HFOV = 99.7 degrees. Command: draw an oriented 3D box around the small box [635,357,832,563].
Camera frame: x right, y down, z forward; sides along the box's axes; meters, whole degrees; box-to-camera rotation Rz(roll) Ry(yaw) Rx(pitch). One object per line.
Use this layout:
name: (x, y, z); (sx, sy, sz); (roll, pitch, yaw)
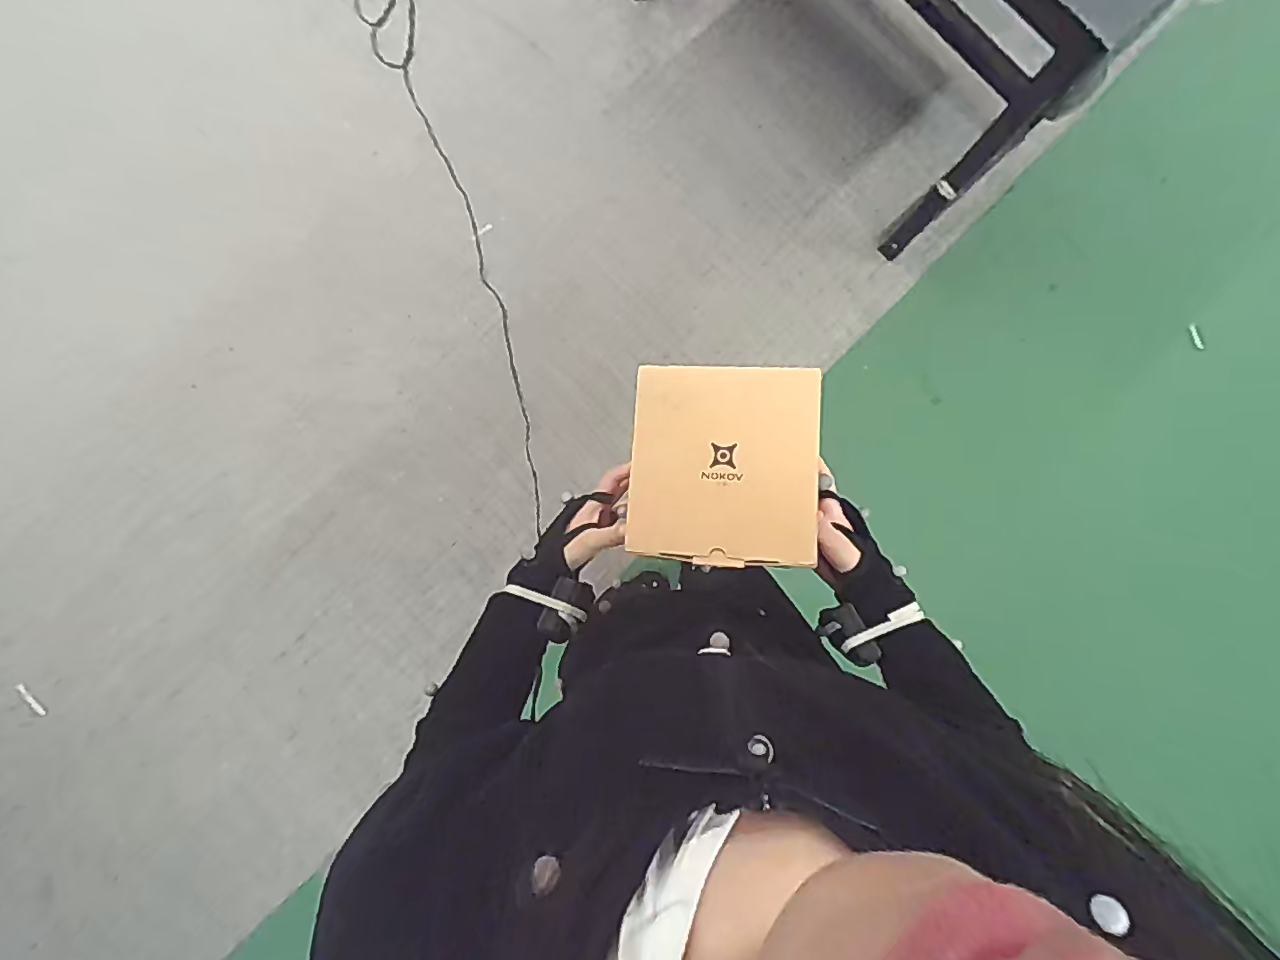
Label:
small box: (0.088, -0.010, 0.542); (0.168, 0.176, 0.179); (2, 82, 7)
